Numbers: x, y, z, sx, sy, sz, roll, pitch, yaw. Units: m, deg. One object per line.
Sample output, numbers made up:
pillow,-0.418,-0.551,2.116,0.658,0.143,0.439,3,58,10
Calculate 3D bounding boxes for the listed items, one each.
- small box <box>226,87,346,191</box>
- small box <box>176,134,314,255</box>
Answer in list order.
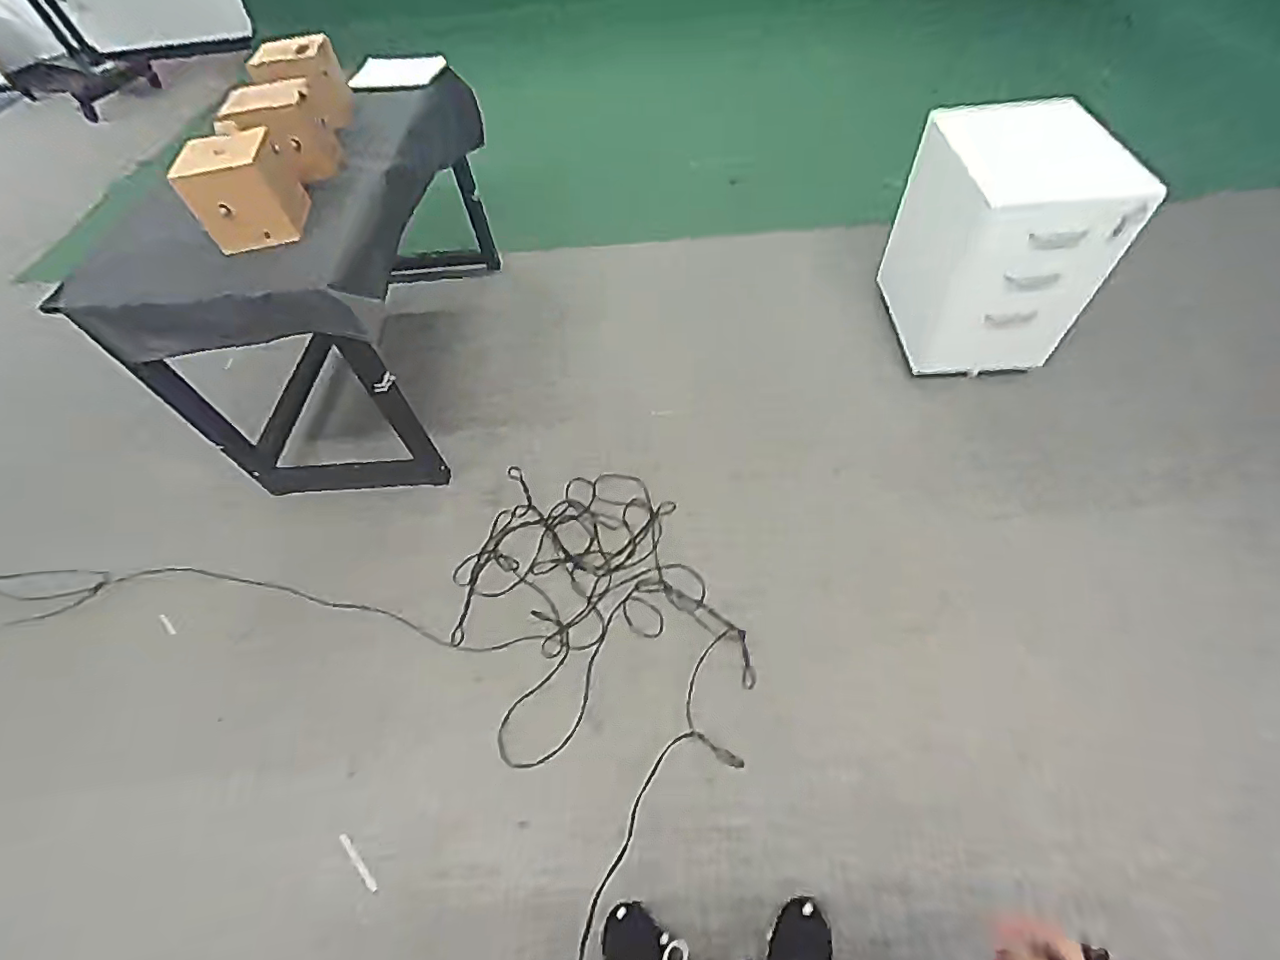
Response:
small box,-0.857,-0.828,1.331,0.179,0.176,0.168,-12,53,-2
small box,-0.840,-0.609,1.171,0.168,0.176,0.179,-13,54,-4
